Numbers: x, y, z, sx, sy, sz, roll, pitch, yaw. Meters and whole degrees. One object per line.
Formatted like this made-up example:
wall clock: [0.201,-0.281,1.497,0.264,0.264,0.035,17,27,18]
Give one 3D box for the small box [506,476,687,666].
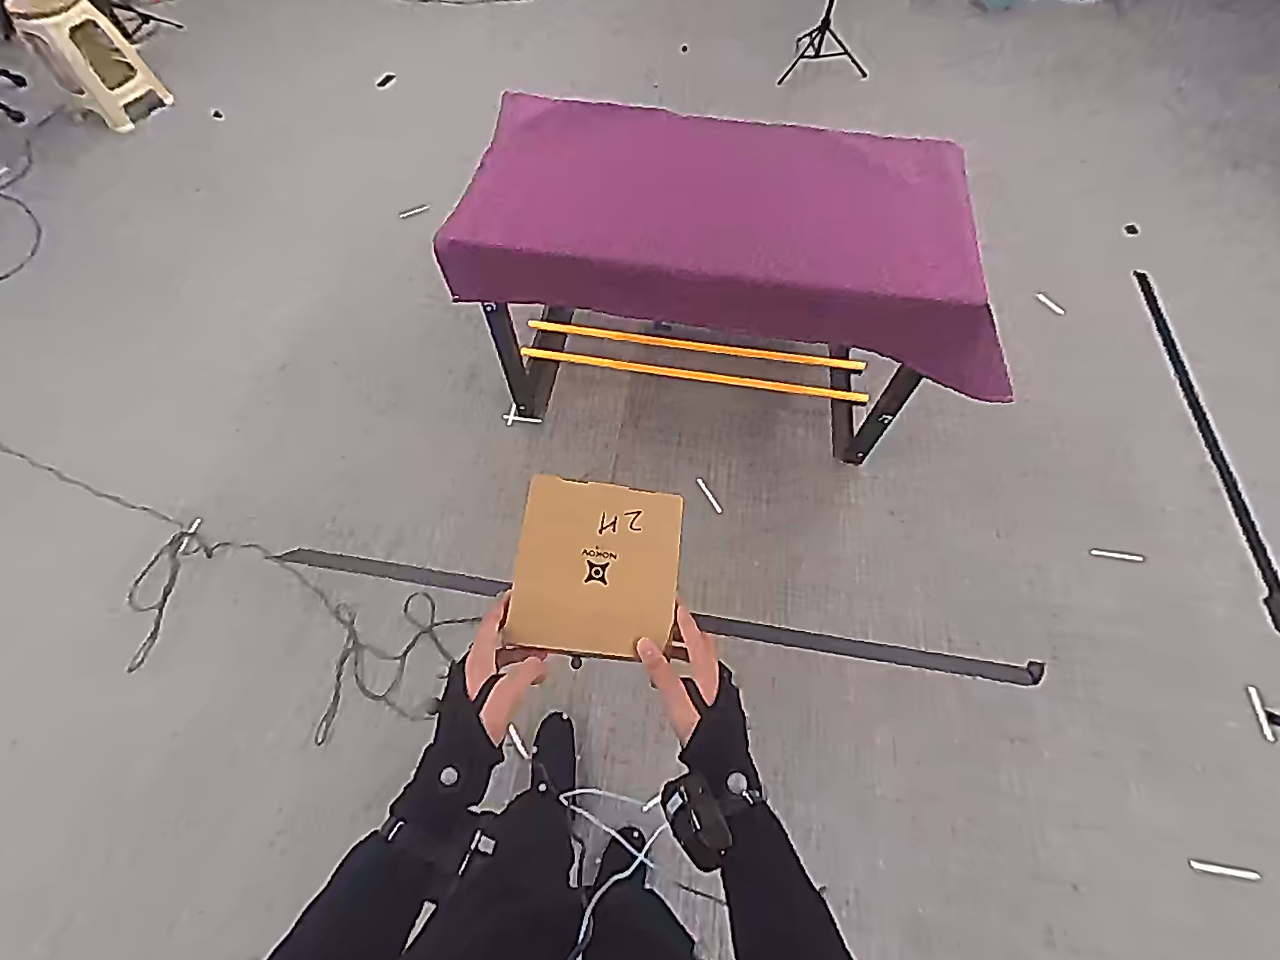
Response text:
small box: [-0.050,0.114,0.627,0.168,0.176,0.179,9,70,-7]
